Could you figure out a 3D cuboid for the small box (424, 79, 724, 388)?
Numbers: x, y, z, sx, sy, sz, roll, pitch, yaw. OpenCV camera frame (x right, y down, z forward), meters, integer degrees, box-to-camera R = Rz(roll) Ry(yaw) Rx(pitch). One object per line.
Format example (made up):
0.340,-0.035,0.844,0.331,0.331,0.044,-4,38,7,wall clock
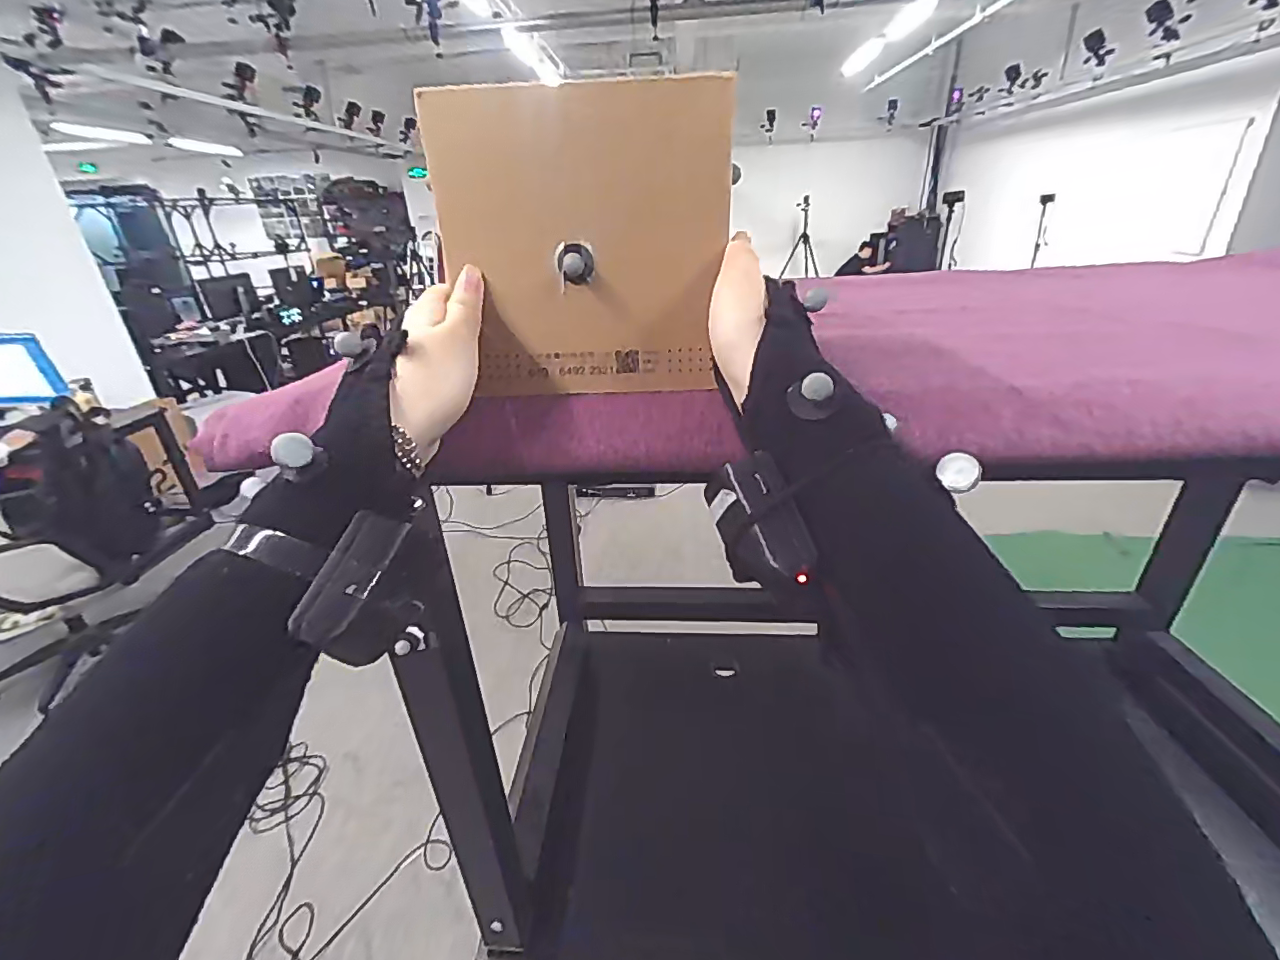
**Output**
-0.030,-0.168,0.393,0.168,0.176,0.179,-1,27,2,small box
